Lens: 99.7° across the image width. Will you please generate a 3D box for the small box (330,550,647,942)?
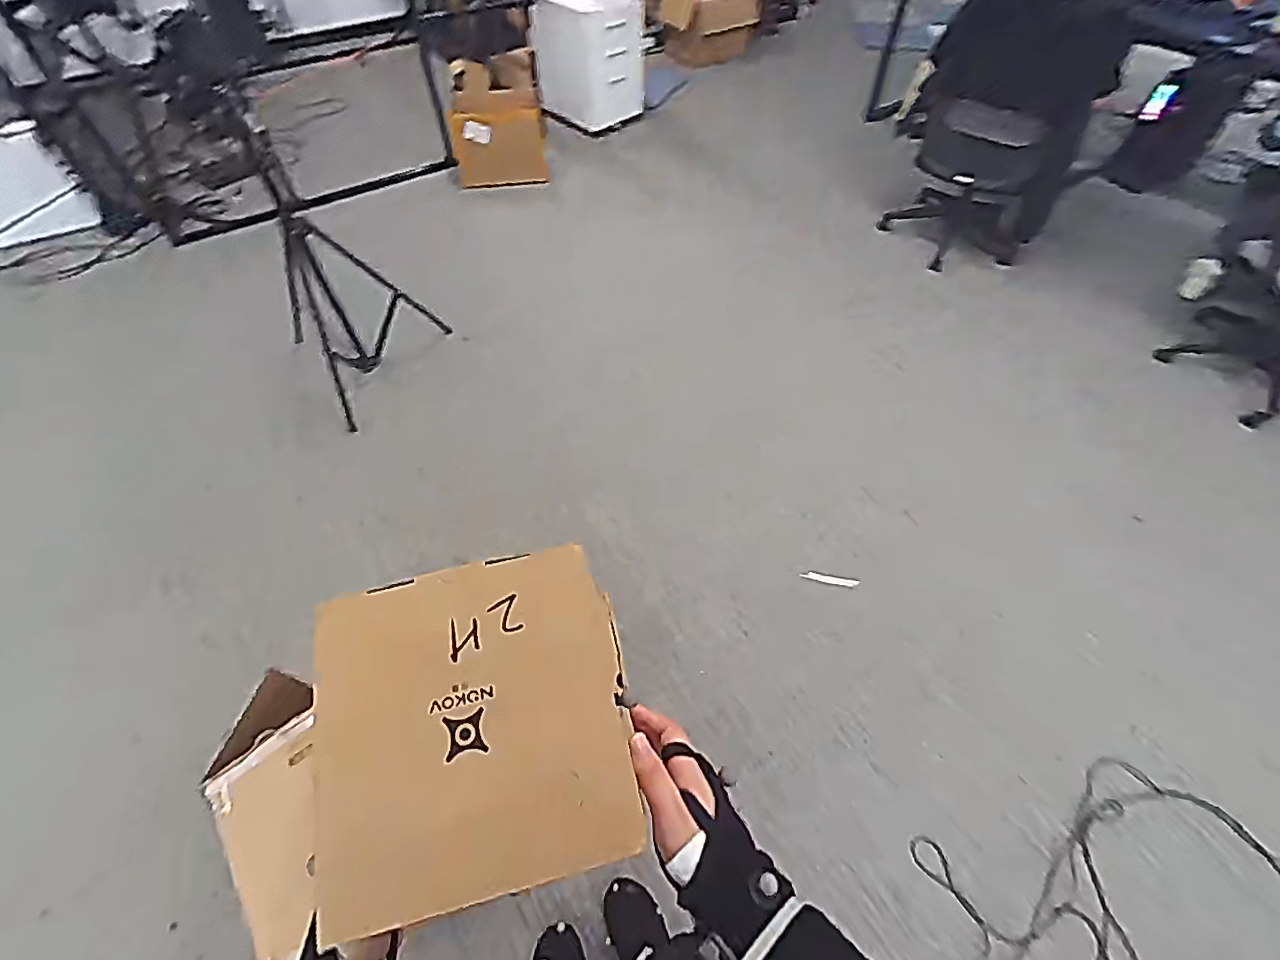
[{"bbox_3d":[-0.091,0.170,0.381,0.168,0.176,0.179,-12,65,-6],"label":"small box"}]
